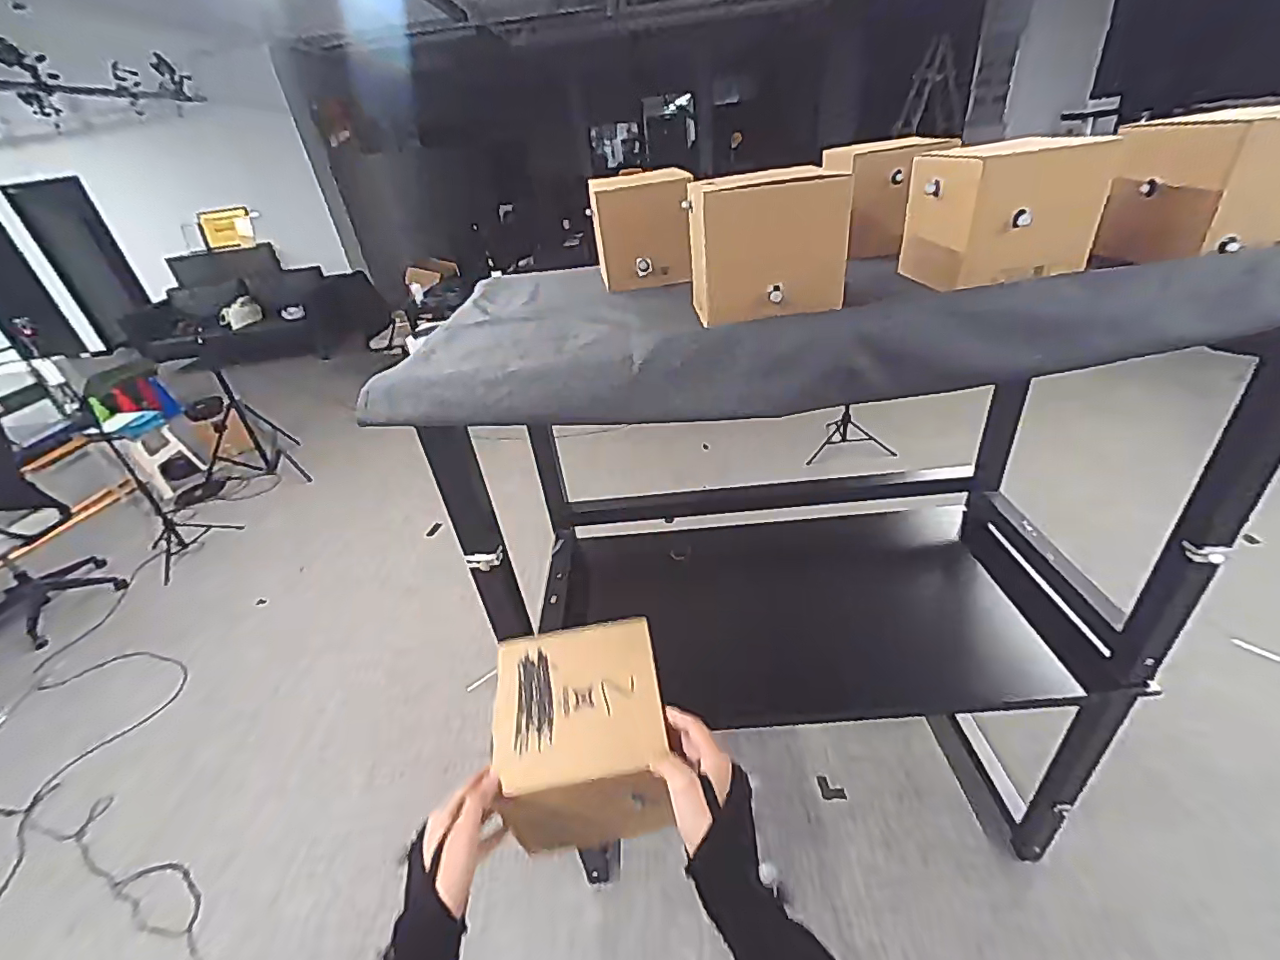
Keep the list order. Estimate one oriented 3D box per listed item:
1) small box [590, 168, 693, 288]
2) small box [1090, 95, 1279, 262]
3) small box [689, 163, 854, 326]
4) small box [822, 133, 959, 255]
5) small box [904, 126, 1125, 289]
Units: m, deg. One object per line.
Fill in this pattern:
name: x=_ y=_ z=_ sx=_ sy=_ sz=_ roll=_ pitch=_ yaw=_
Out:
small box: x=0.005 y=-0.455 z=0.977 sx=0.168 sy=0.176 sz=0.179 roll=-10 pitch=32 yaw=-2
small box: x=0.754 y=-0.392 z=0.708 sx=0.168 sy=0.176 sz=0.179 roll=-9 pitch=31 yaw=-1
small box: x=0.161 y=-0.314 z=0.719 sx=0.179 sy=0.176 sz=0.168 roll=-6 pitch=31 yaw=2
small box: x=0.434 y=-0.513 z=0.973 sx=0.179 sy=0.176 sz=0.168 roll=-6 pitch=33 yaw=3
small box: x=0.482 y=-0.364 z=0.730 sx=0.168 sy=0.176 sz=0.179 roll=-7 pitch=31 yaw=1
